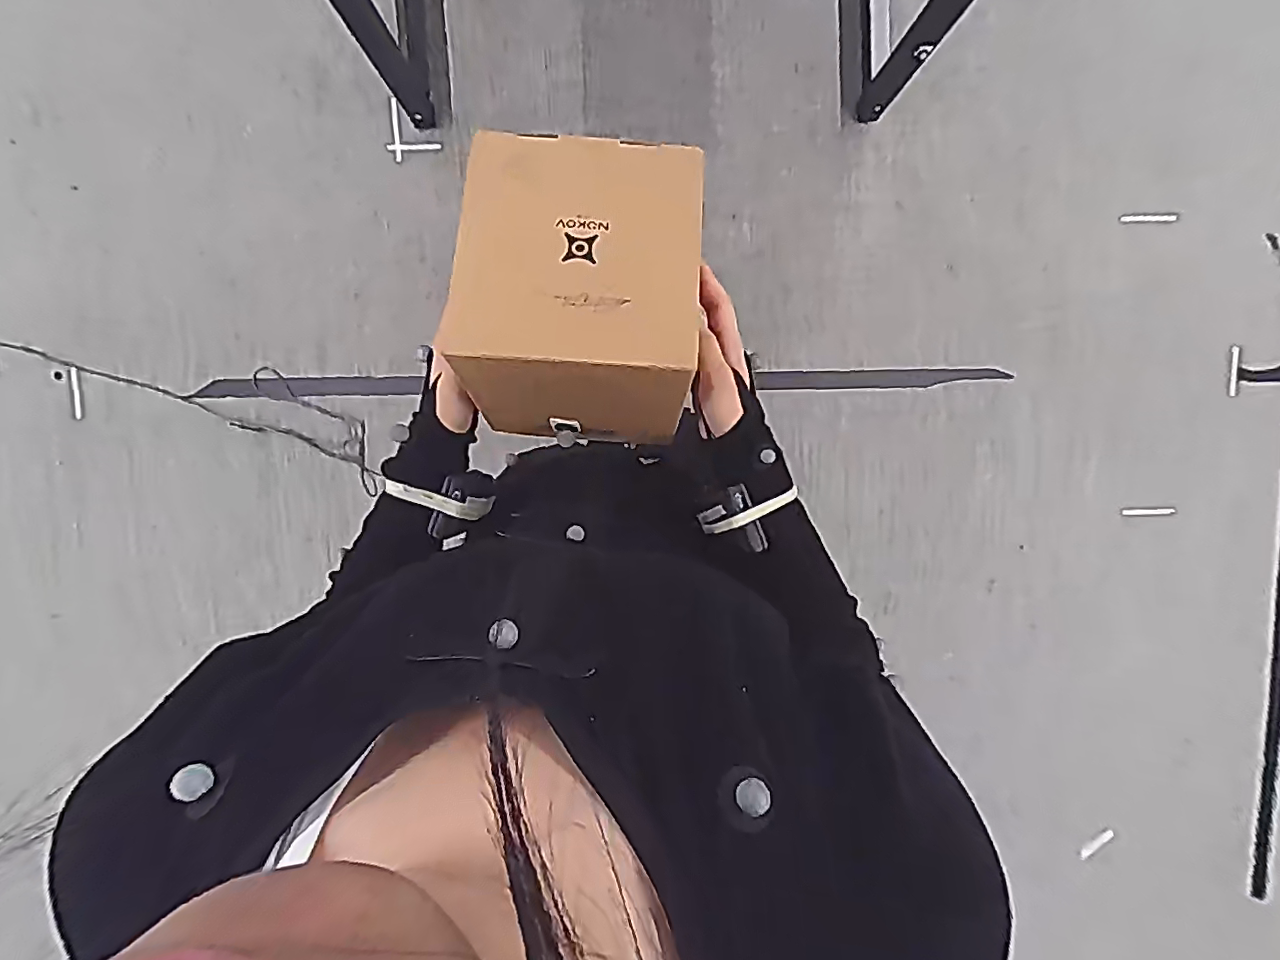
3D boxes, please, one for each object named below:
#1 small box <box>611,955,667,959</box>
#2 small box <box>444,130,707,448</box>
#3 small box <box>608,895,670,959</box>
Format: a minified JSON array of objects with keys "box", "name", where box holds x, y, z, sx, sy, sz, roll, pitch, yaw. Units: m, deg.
[{"box":[0.004,1.347,1.362,0.168,0.176,0.179,-3,96,-2],"name":"small box"},{"box":[-0.042,-0.138,0.440,0.168,0.176,0.179,3,77,-1],"name":"small box"},{"box":[-0.007,1.322,1.524,0.168,0.176,0.179,1,95,-3],"name":"small box"}]
